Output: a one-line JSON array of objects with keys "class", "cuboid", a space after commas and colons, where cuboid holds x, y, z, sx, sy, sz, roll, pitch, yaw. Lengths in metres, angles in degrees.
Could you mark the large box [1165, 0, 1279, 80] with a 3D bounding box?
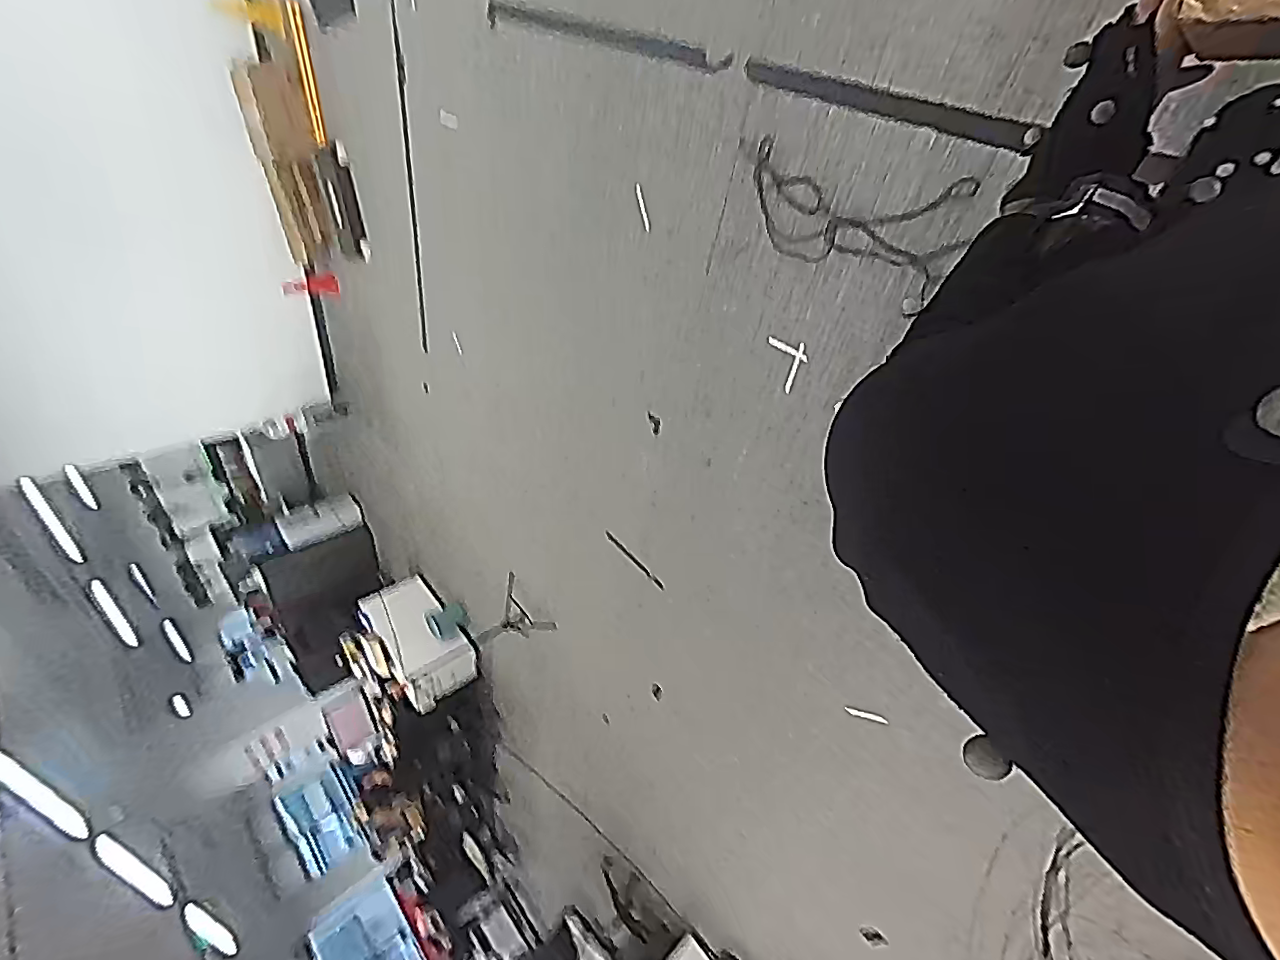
[{"class": "large box", "cuboid": [0.451, -0.307, 0.125, 0.408, 0.320, 0.320, 23, 132, 34]}]
